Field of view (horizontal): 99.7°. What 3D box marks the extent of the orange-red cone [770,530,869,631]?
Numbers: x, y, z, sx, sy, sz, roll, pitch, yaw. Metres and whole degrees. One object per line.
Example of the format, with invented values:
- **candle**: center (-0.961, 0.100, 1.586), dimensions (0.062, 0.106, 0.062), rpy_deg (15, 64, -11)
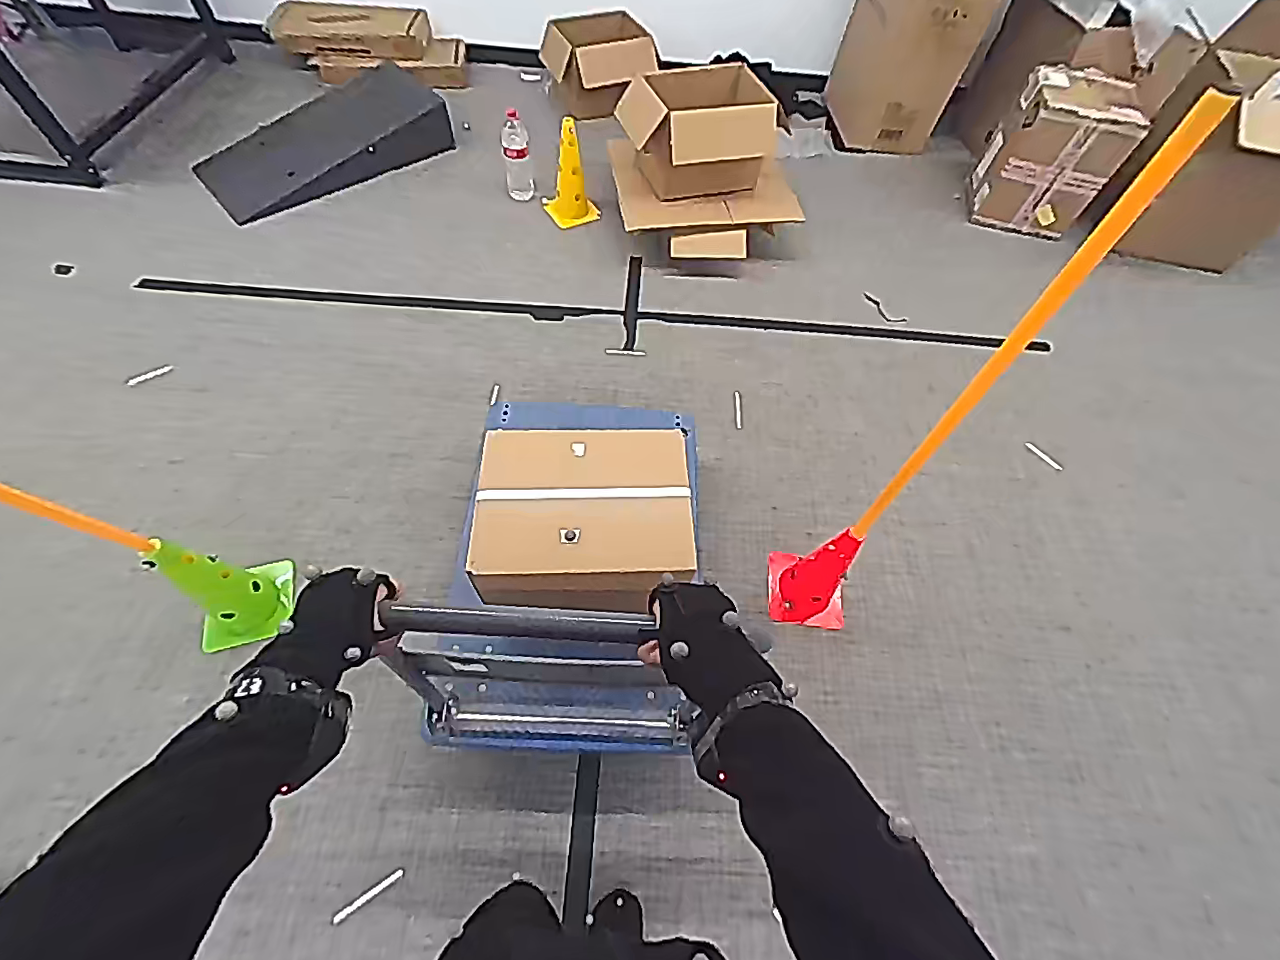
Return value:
- **orange-red cone**: center (0.468, 0.213, 1.319), dimensions (0.199, 0.360, 0.198), rpy_deg (10, 59, 1)
